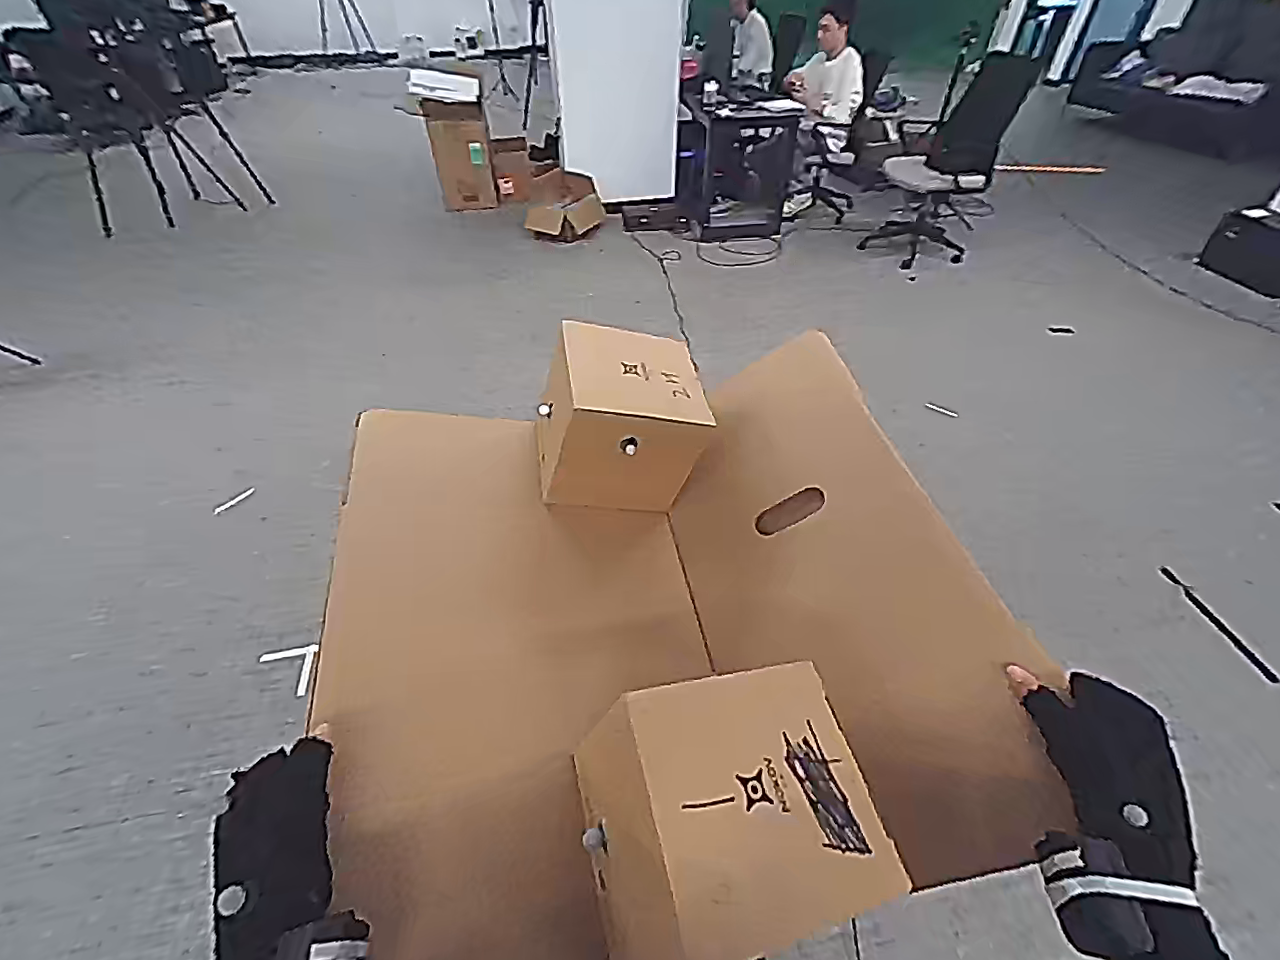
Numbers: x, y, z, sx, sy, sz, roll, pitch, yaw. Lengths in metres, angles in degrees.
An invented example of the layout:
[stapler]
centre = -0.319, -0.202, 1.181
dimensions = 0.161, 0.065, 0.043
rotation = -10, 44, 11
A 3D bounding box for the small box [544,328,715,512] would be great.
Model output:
[small box]
centre = -0.029, -0.072, 0.715
dimensions = 0.179, 0.176, 0.168
rotation = 6, 48, -21
